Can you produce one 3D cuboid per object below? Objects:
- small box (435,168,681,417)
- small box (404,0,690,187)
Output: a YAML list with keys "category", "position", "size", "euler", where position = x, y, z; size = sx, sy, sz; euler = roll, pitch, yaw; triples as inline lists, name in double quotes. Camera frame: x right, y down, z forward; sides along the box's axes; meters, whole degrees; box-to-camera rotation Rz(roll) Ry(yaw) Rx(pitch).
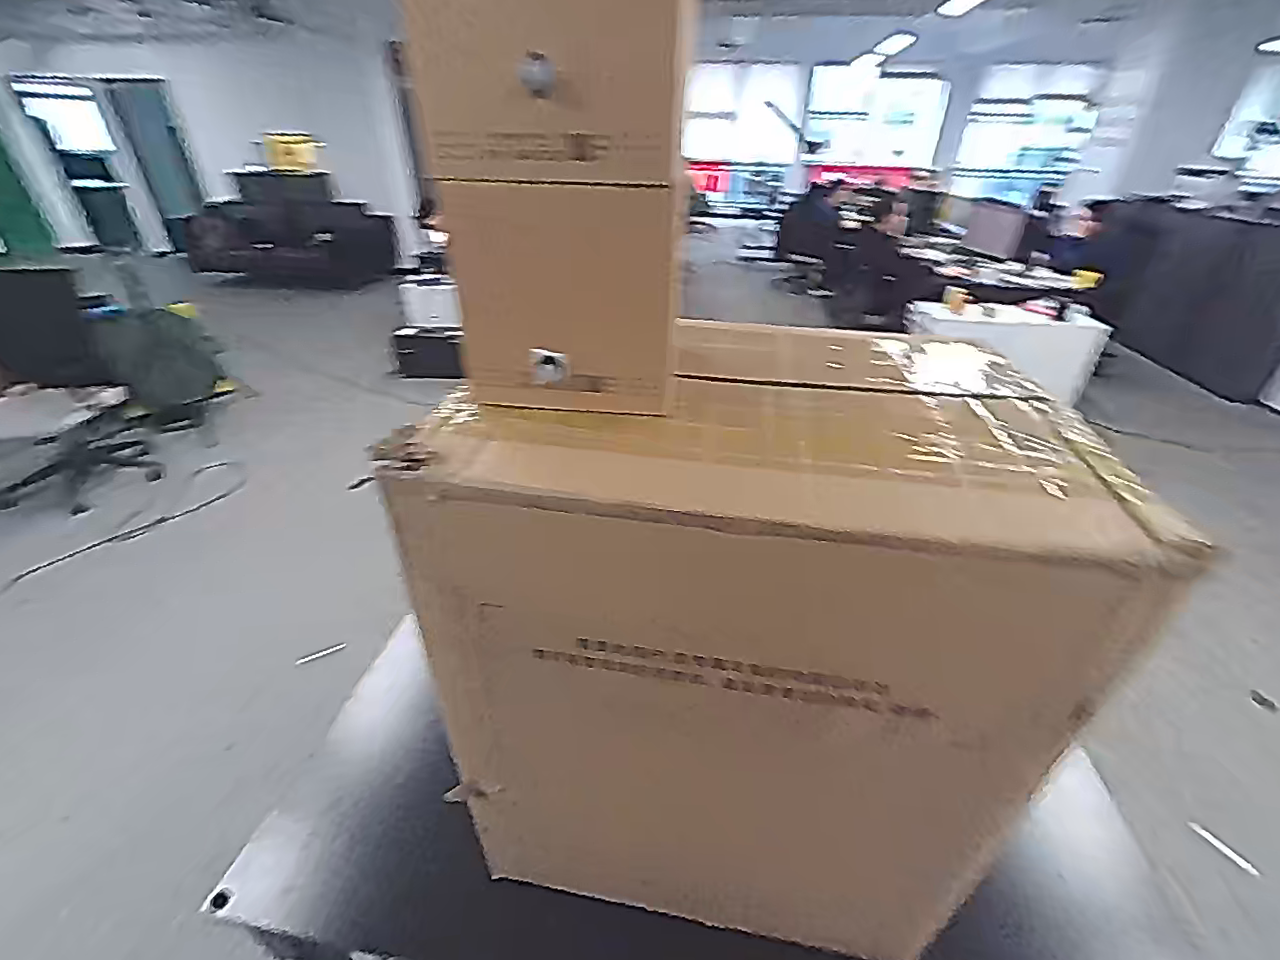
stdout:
- category: "small box"
  position: [-0.052, -0.169, 0.465]
  size: [0.168, 0.176, 0.179]
  euler: [2, 34, 3]
- category: "small box"
  position: [-0.052, -0.306, 0.373]
  size: [0.168, 0.176, 0.179]
  euler: [3, 33, 5]
